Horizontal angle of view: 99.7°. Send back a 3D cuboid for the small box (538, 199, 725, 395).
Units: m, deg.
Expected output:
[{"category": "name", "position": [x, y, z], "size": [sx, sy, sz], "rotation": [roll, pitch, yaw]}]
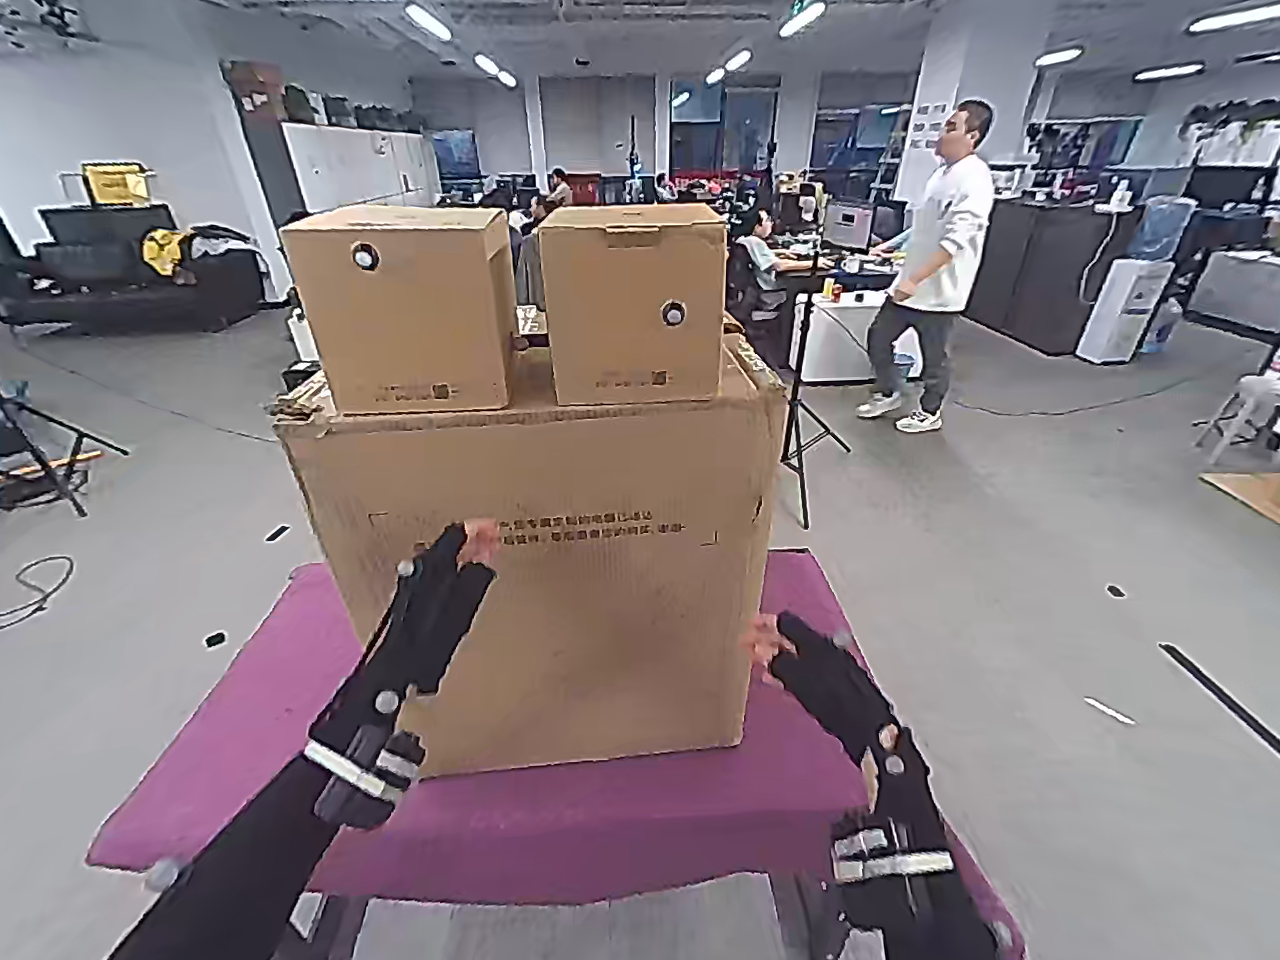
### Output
[{"category": "small box", "position": [-0.005, -0.195, 0.572], "size": [0.168, 0.176, 0.179], "rotation": [-1, 30, -1]}]
